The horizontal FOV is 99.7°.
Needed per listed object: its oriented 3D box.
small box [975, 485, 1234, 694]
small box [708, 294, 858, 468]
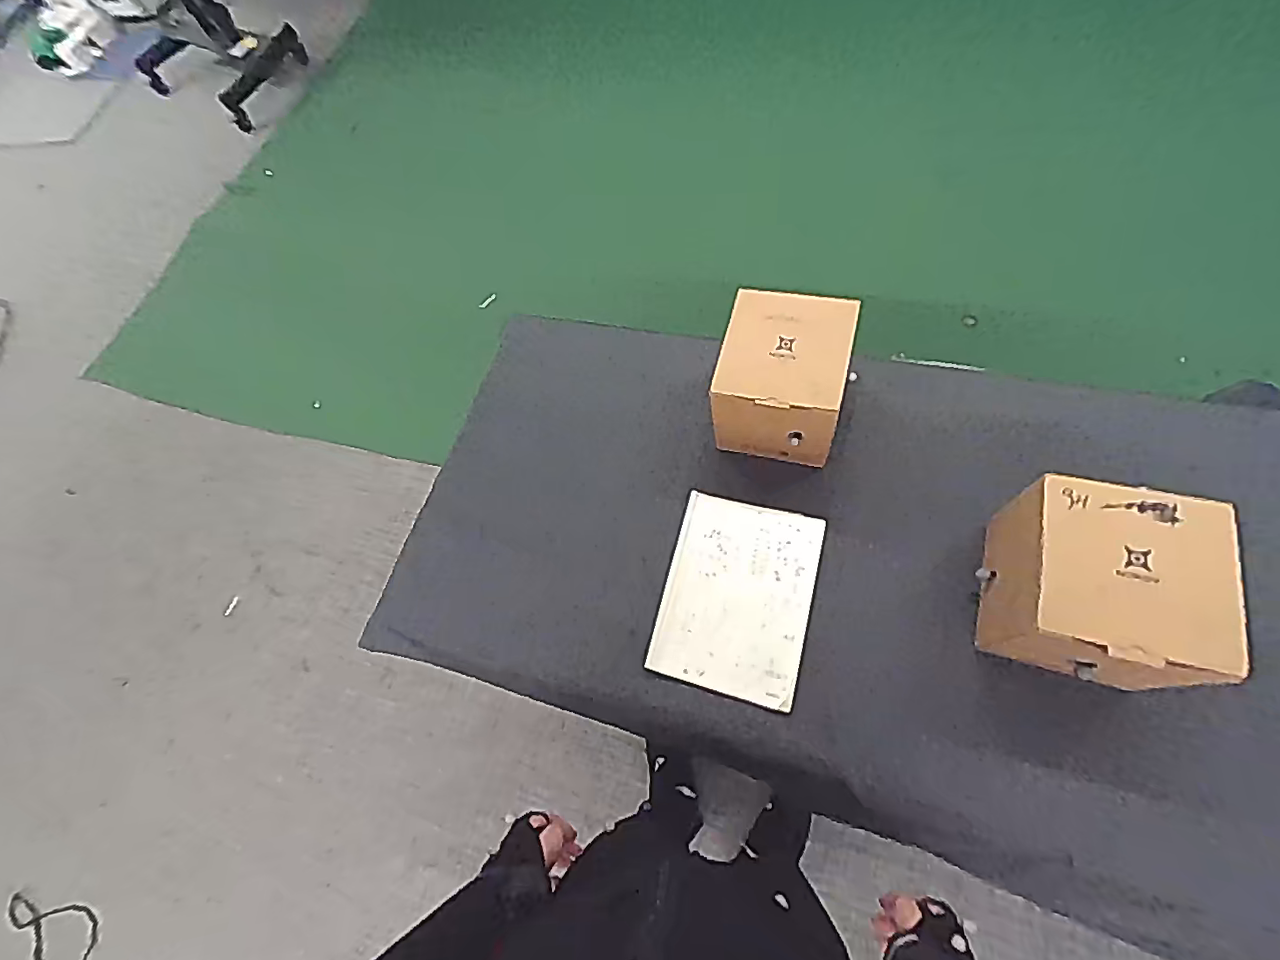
[{"bbox_3d":[0.501,0.129,0.609,0.168,0.176,0.179,12,71,16],"label":"small box"},{"bbox_3d":[0.201,-0.135,0.773,0.168,0.176,0.179,11,69,15],"label":"small box"}]
